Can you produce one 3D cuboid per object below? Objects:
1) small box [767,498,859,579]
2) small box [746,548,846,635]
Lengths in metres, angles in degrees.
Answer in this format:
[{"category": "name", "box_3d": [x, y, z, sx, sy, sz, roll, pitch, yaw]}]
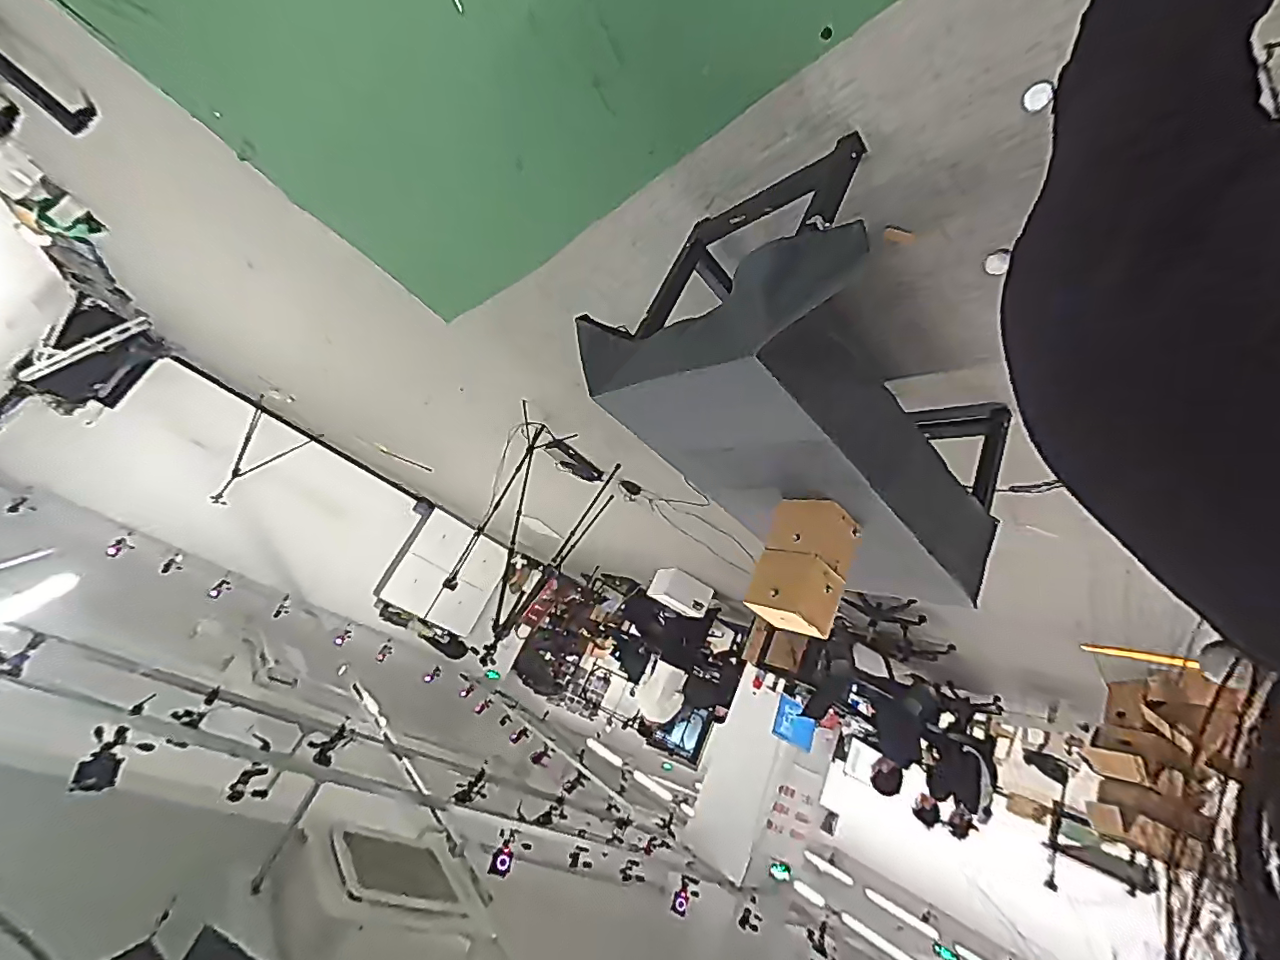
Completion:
[{"category": "small box", "box_3d": [0.496, 0.161, 1.529, 0.168, 0.176, 0.179, 38, 158, -30]}, {"category": "small box", "box_3d": [0.427, 0.297, 1.473, 0.168, 0.176, 0.179, 39, 157, -30]}]
